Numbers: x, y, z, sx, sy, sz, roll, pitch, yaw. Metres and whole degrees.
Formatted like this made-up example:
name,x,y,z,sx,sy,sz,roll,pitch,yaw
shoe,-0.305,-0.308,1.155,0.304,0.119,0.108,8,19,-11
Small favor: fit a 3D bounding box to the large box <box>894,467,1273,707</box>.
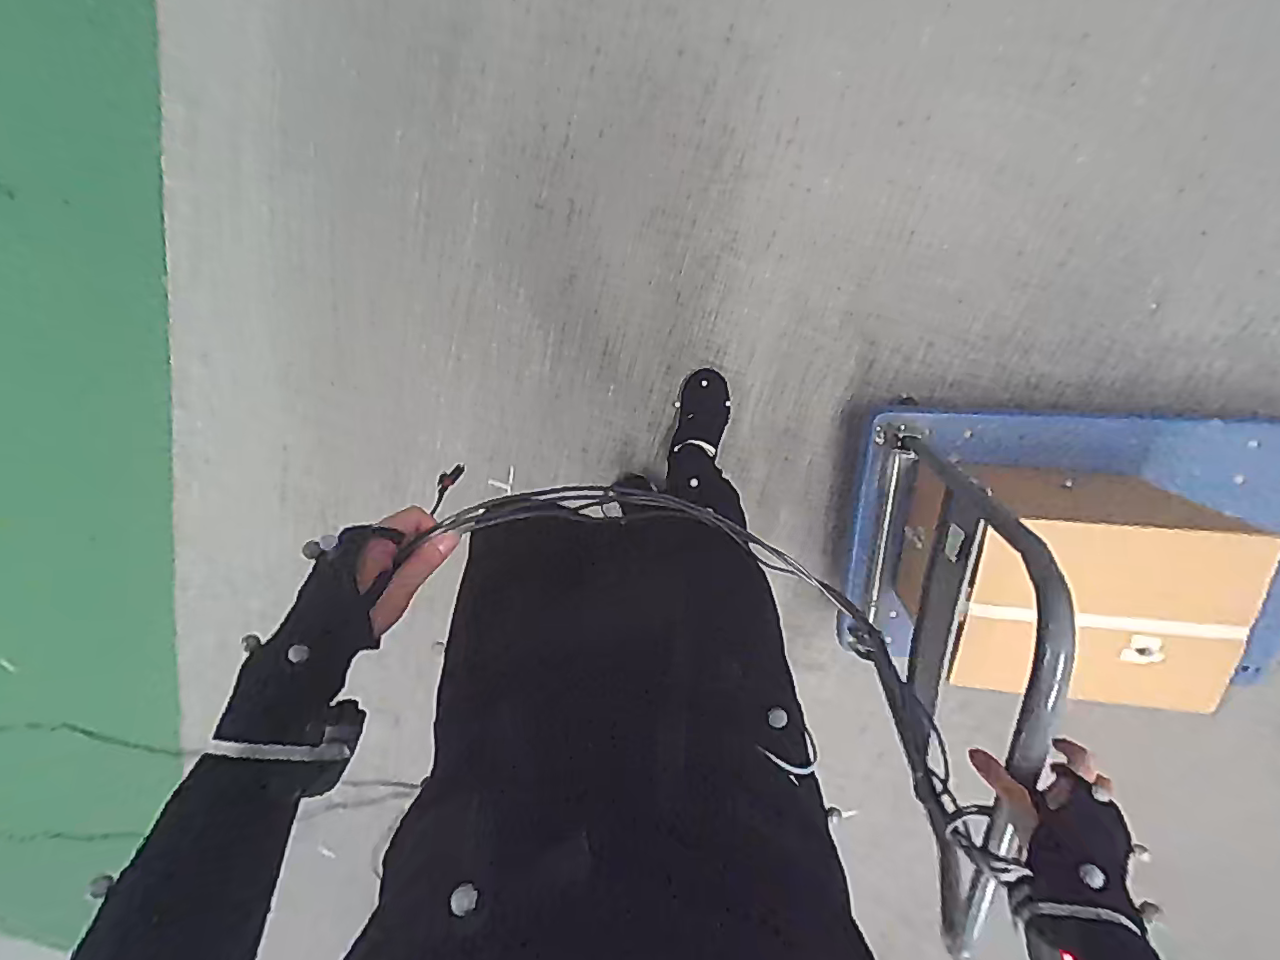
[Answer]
name,x,y,z,sx,sy,sz,roll,pitch,yaw
large box,0.739,0.169,0.993,0.408,0.320,0.320,4,109,6
